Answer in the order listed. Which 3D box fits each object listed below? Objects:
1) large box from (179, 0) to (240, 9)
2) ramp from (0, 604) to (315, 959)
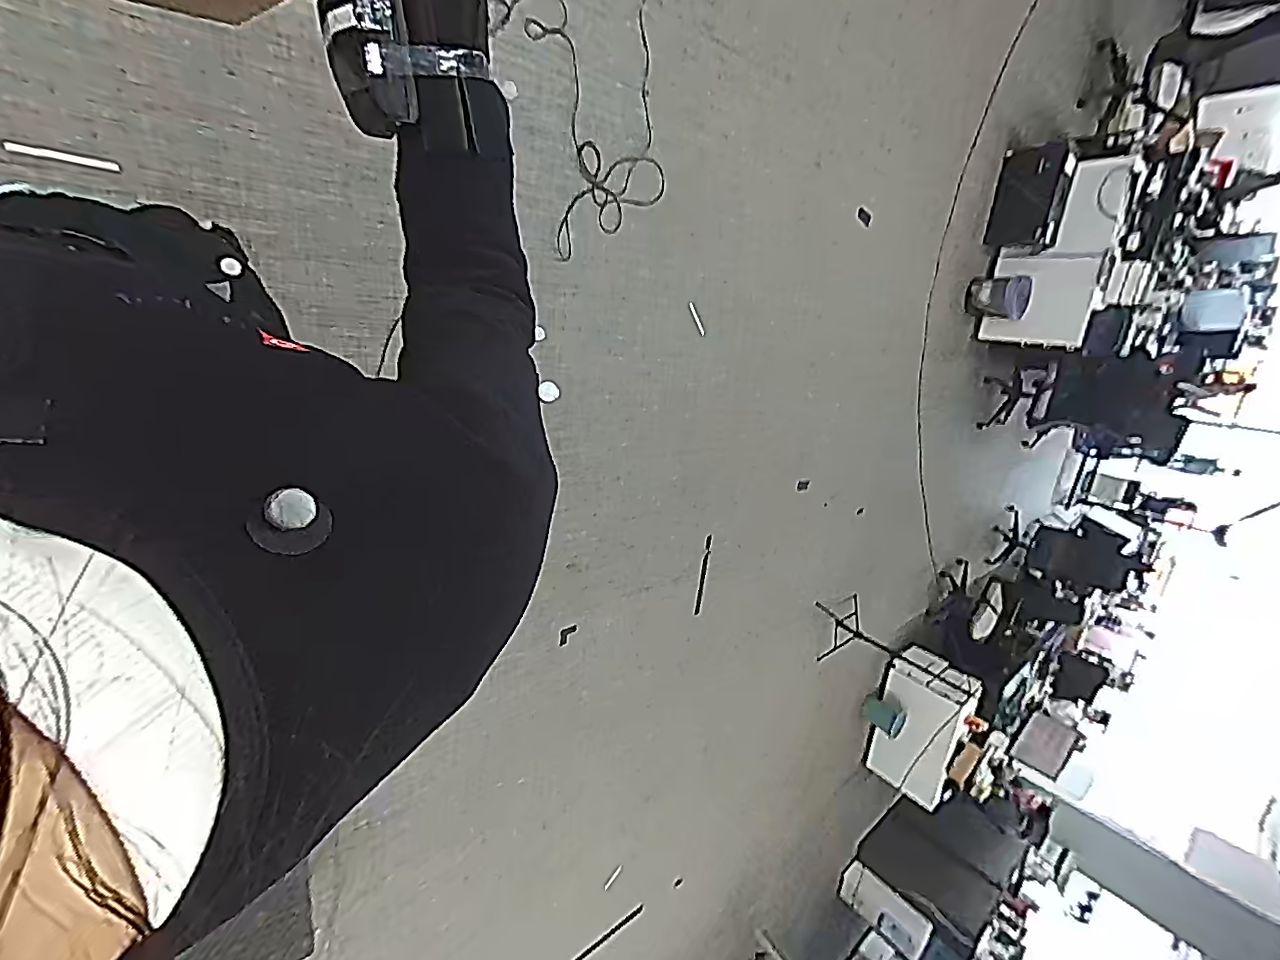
[{"bbox_3d":[-0.390,-0.424,0.184,0.408,0.320,0.320,-18,129,-38],"label":"large box"},{"bbox_3d":[-1.082,0.821,1.274,0.509,0.206,0.991,-7,110,-39],"label":"ramp"}]
